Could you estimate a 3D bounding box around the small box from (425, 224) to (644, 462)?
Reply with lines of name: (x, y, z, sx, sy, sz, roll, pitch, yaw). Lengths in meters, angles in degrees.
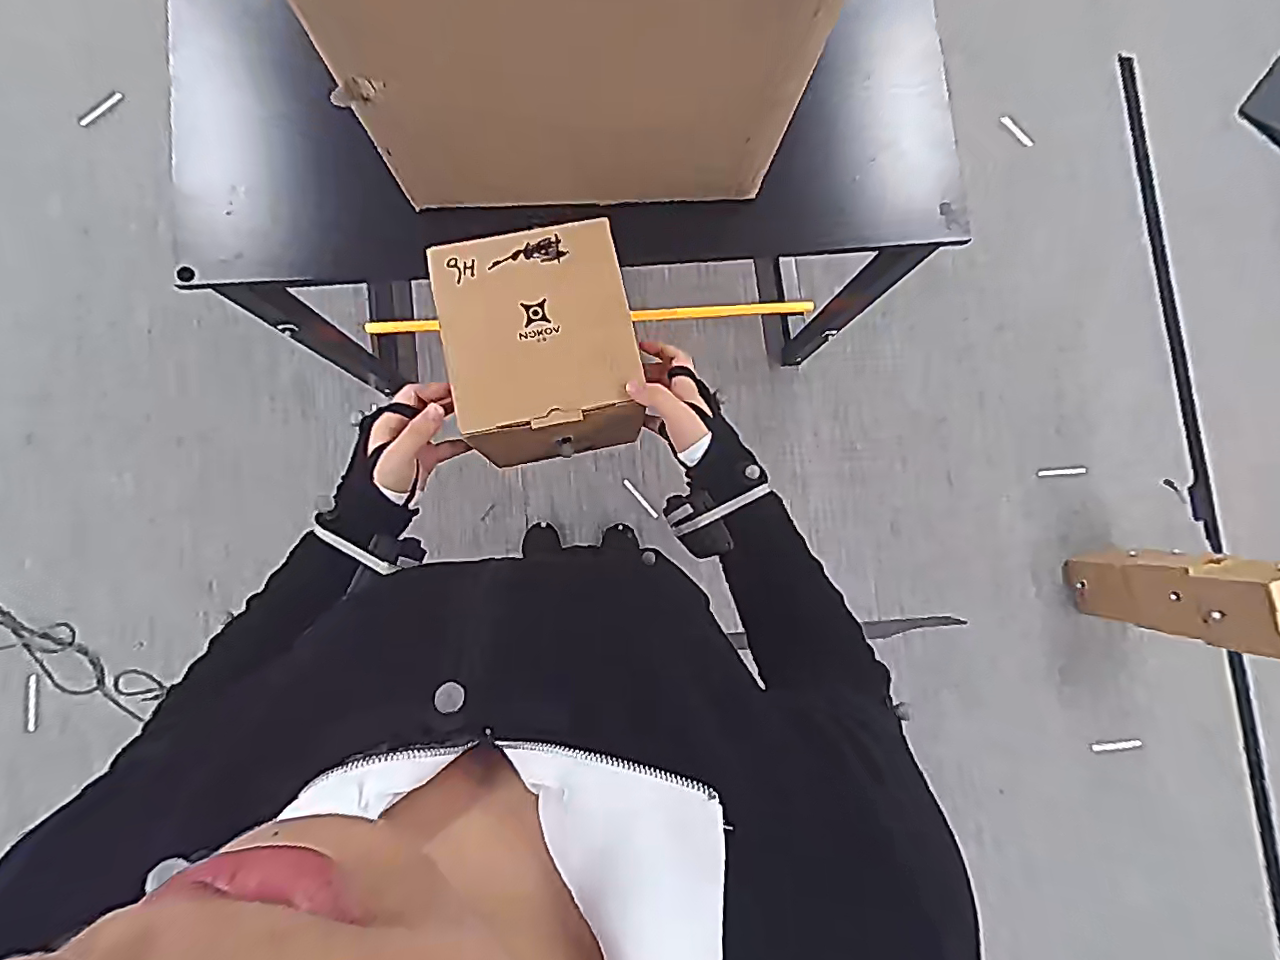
small box: (-0.094, -0.120, 0.546, 0.168, 0.176, 0.179, -12, 84, -4)

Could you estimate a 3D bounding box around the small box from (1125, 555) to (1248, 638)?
small box: (1.372, 0.284, 1.352, 0.168, 0.176, 0.179, -9, 86, -4)

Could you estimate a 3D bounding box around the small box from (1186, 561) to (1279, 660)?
small box: (1.379, 0.279, 1.187, 0.179, 0.176, 0.168, -13, 85, -5)

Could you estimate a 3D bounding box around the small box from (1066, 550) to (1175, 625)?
small box: (1.358, 0.294, 1.516, 0.179, 0.176, 0.168, -12, 85, -4)
